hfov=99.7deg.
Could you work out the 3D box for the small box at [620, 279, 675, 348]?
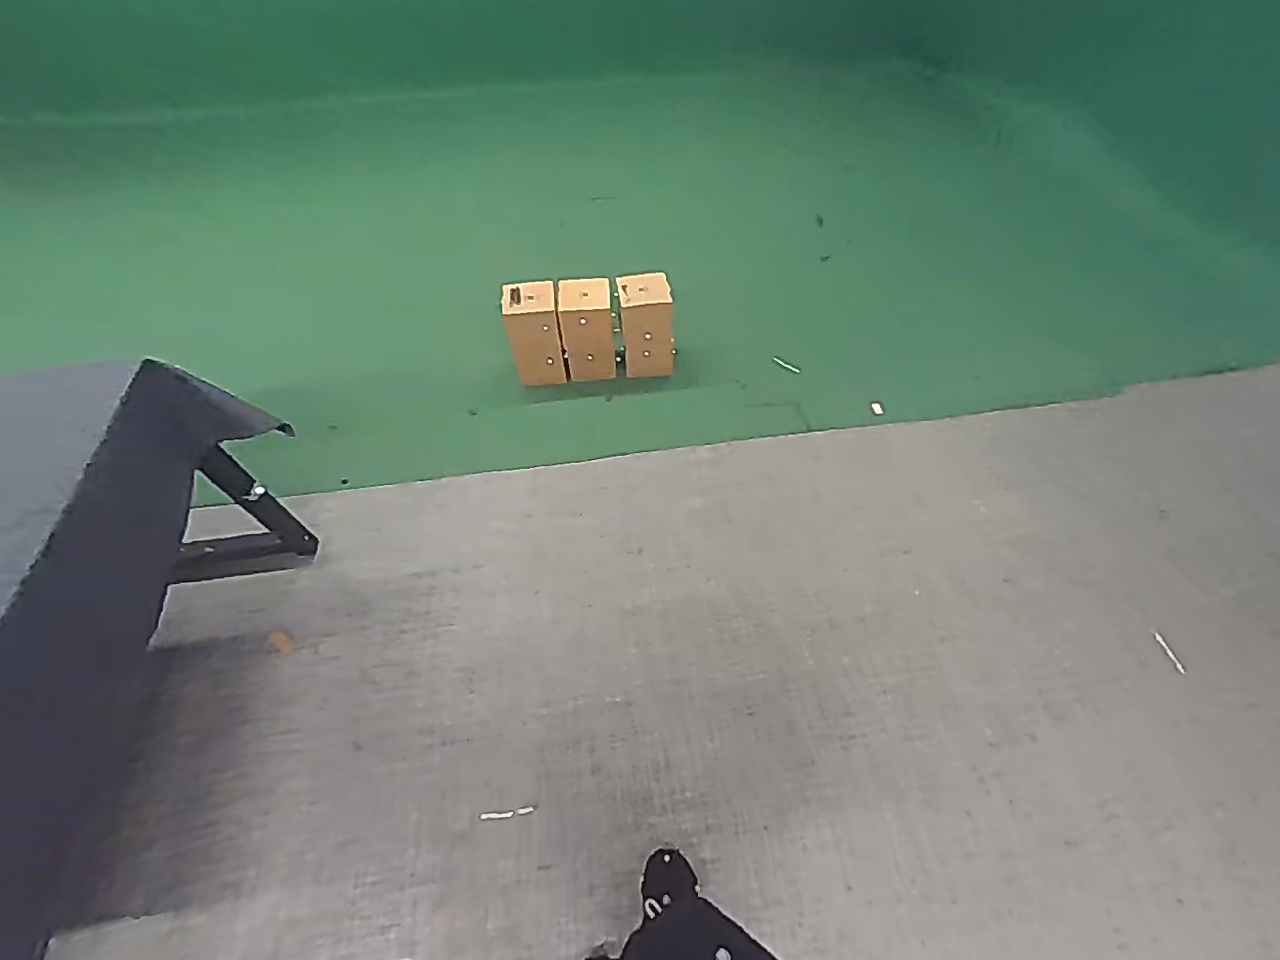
[{"bbox_3d":[0.022,-0.586,1.913,0.179,0.176,0.168,-6,55,-5],"label":"small box"}]
